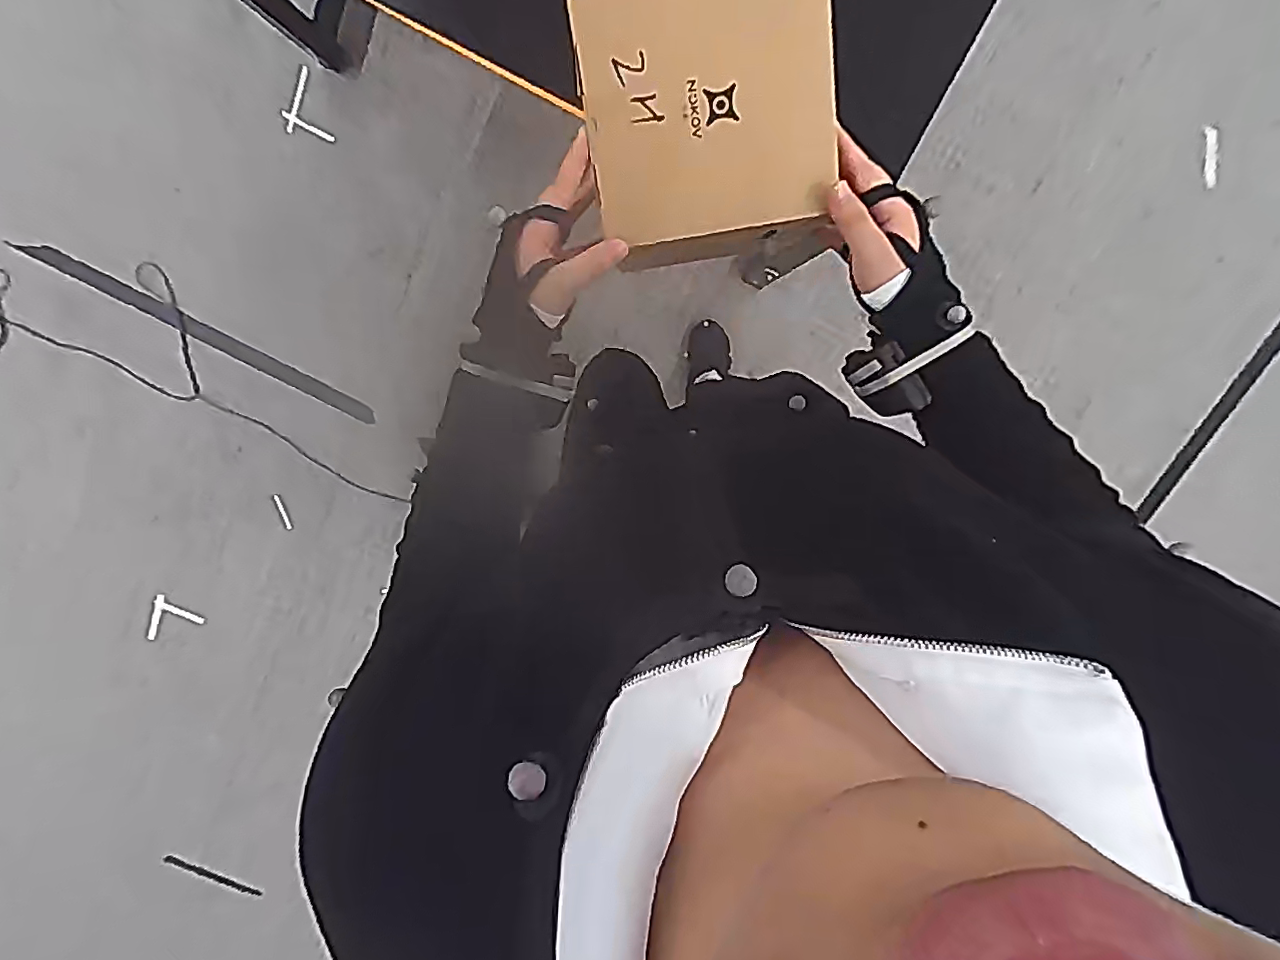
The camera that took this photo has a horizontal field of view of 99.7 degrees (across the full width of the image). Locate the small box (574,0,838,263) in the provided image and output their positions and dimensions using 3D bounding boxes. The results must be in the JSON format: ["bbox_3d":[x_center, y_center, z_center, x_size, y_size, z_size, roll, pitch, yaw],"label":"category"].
[{"bbox_3d":[0.051,-0.288,0.457,0.179,0.176,0.168,-7,105,4],"label":"small box"}]
